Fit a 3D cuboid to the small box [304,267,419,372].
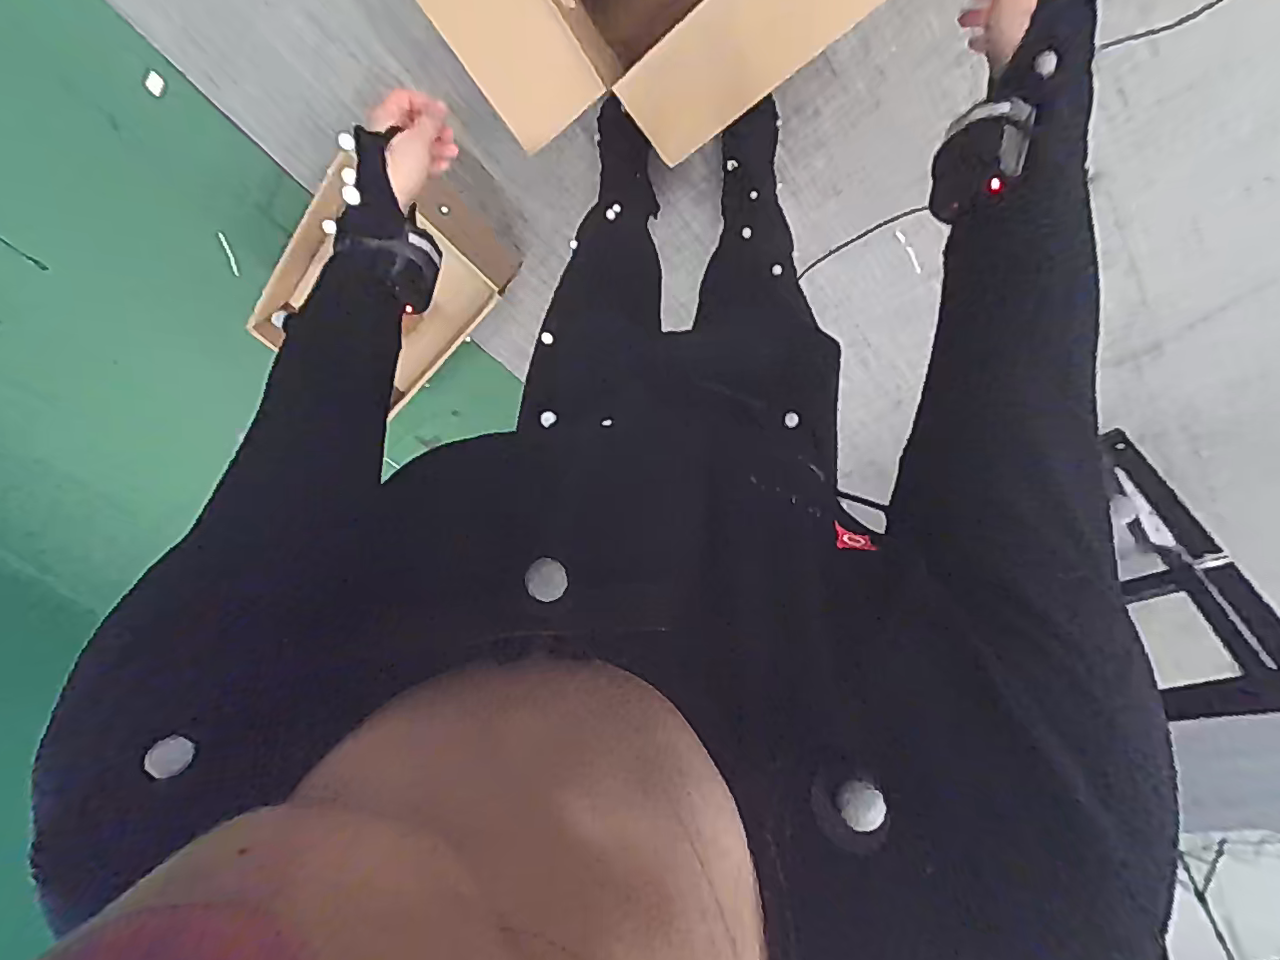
[{"bbox_3d":[-0.694,-0.412,1.378,0.179,0.176,0.168,-20,125,26],"label":"small box"}]
